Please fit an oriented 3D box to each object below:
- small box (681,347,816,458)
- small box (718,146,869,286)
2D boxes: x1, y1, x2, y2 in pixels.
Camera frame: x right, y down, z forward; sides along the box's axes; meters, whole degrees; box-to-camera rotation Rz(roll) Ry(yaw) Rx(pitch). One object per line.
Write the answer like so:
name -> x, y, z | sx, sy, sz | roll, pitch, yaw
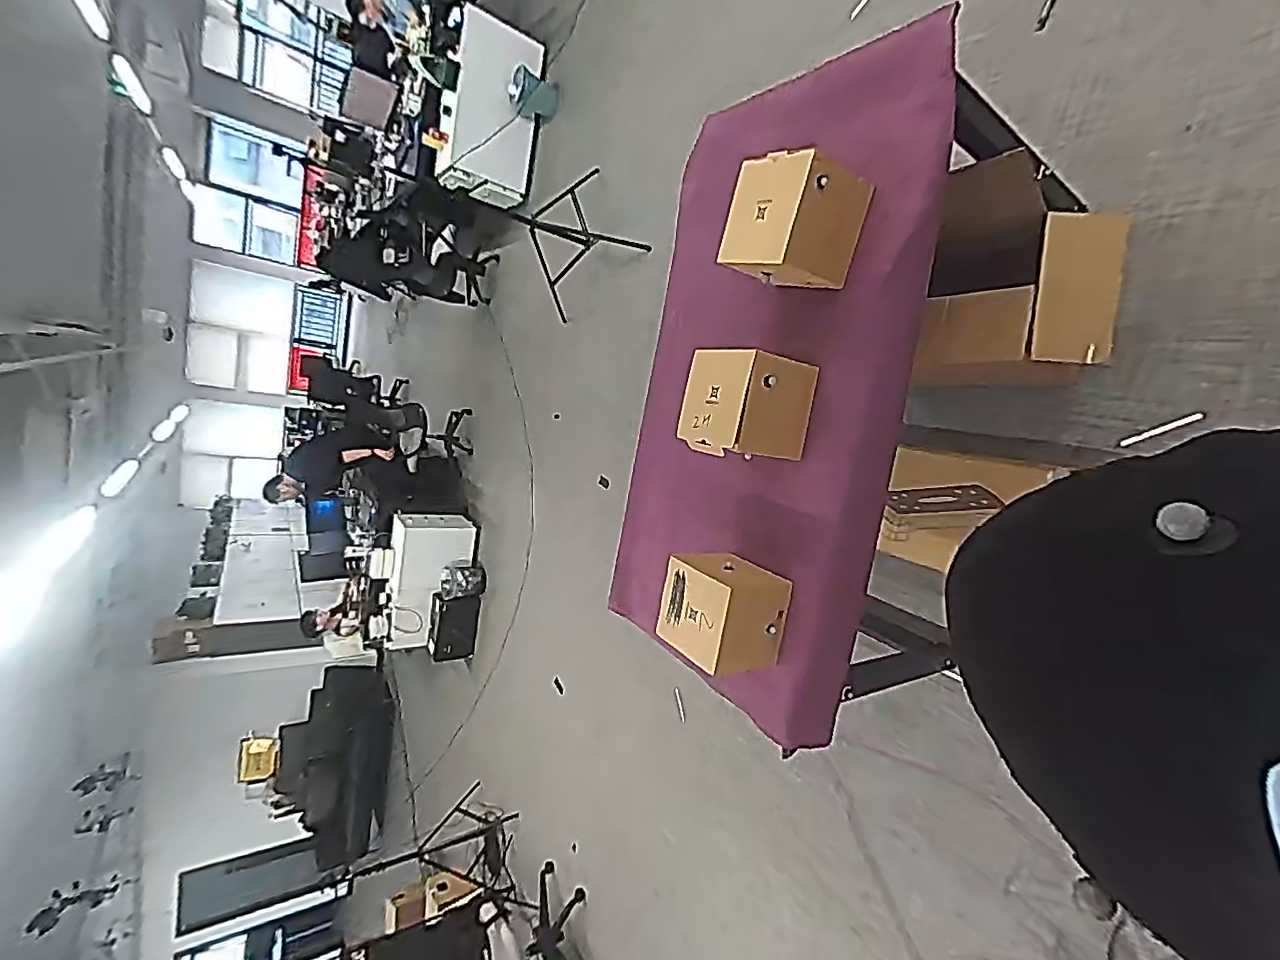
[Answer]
small box -> 0.204, -0.146, 1.013 | 0.168, 0.176, 0.179 | 21, 104, 56
small box -> 0.270, -0.451, 0.951 | 0.168, 0.176, 0.179 | 31, 112, 52
